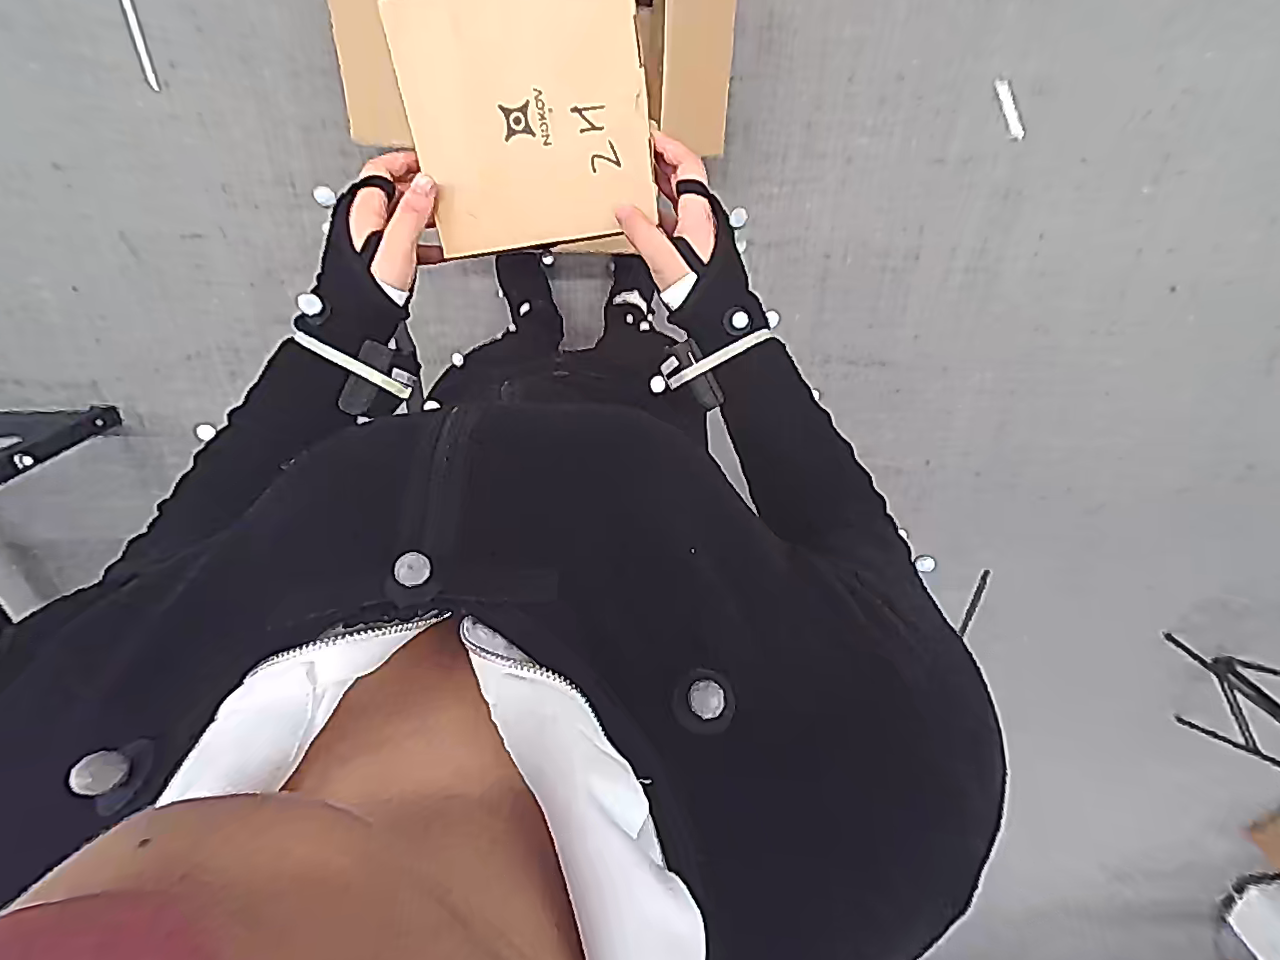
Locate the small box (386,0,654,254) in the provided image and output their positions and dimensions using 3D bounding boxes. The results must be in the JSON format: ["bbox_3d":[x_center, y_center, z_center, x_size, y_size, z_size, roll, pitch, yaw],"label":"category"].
[{"bbox_3d":[-0.086,-0.298,0.480,0.179,0.176,0.168,-9,114,0],"label":"small box"}]
